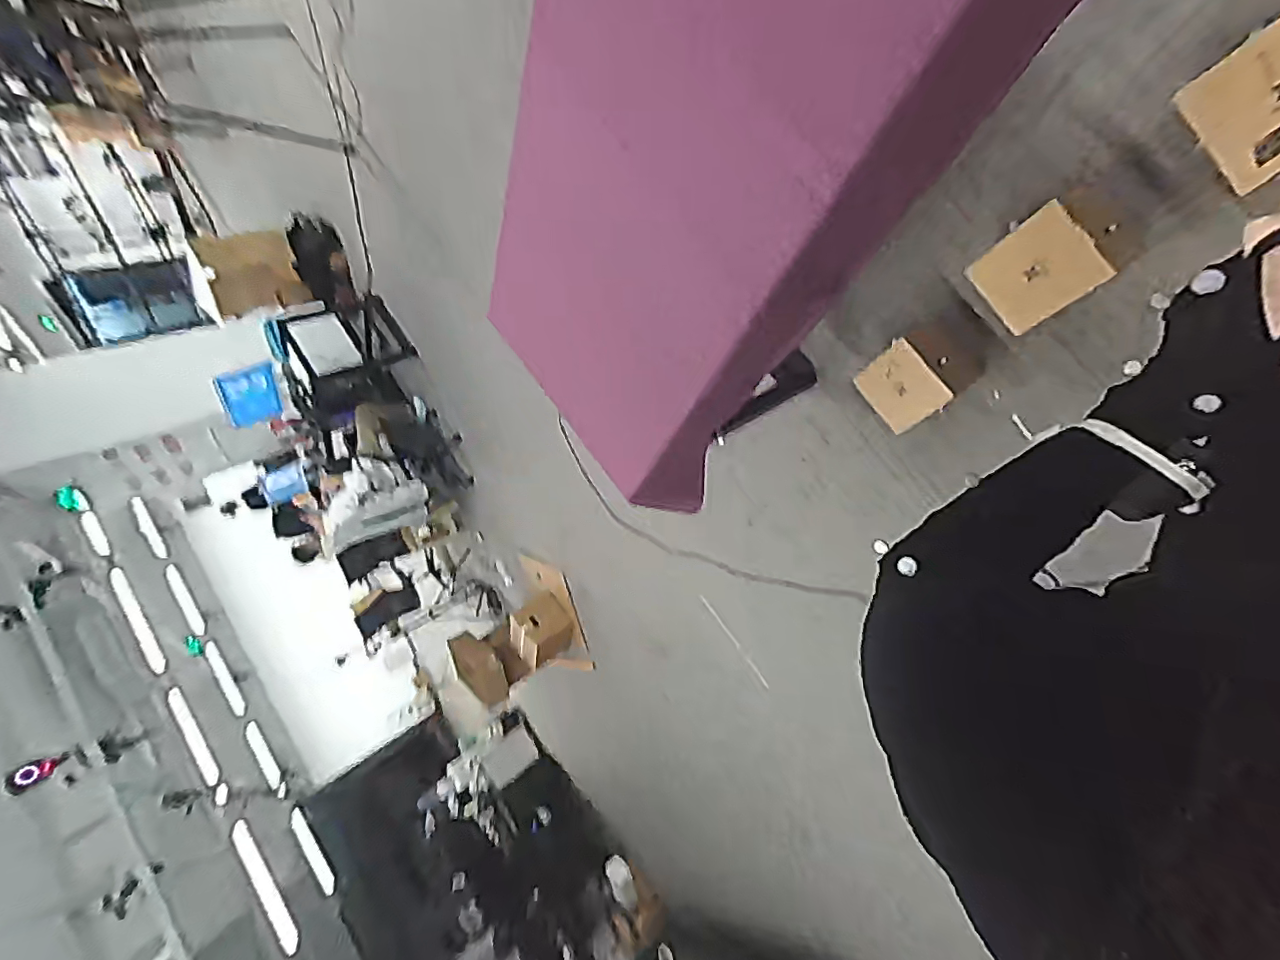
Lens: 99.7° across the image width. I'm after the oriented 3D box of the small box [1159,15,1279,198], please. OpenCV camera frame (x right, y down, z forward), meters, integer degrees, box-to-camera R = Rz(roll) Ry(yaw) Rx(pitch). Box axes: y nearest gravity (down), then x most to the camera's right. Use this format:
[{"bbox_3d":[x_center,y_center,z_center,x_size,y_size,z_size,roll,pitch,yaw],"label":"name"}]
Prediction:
[{"bbox_3d":[0.903,-0.540,0.769,0.179,0.176,0.168,60,146,4],"label":"small box"}]
